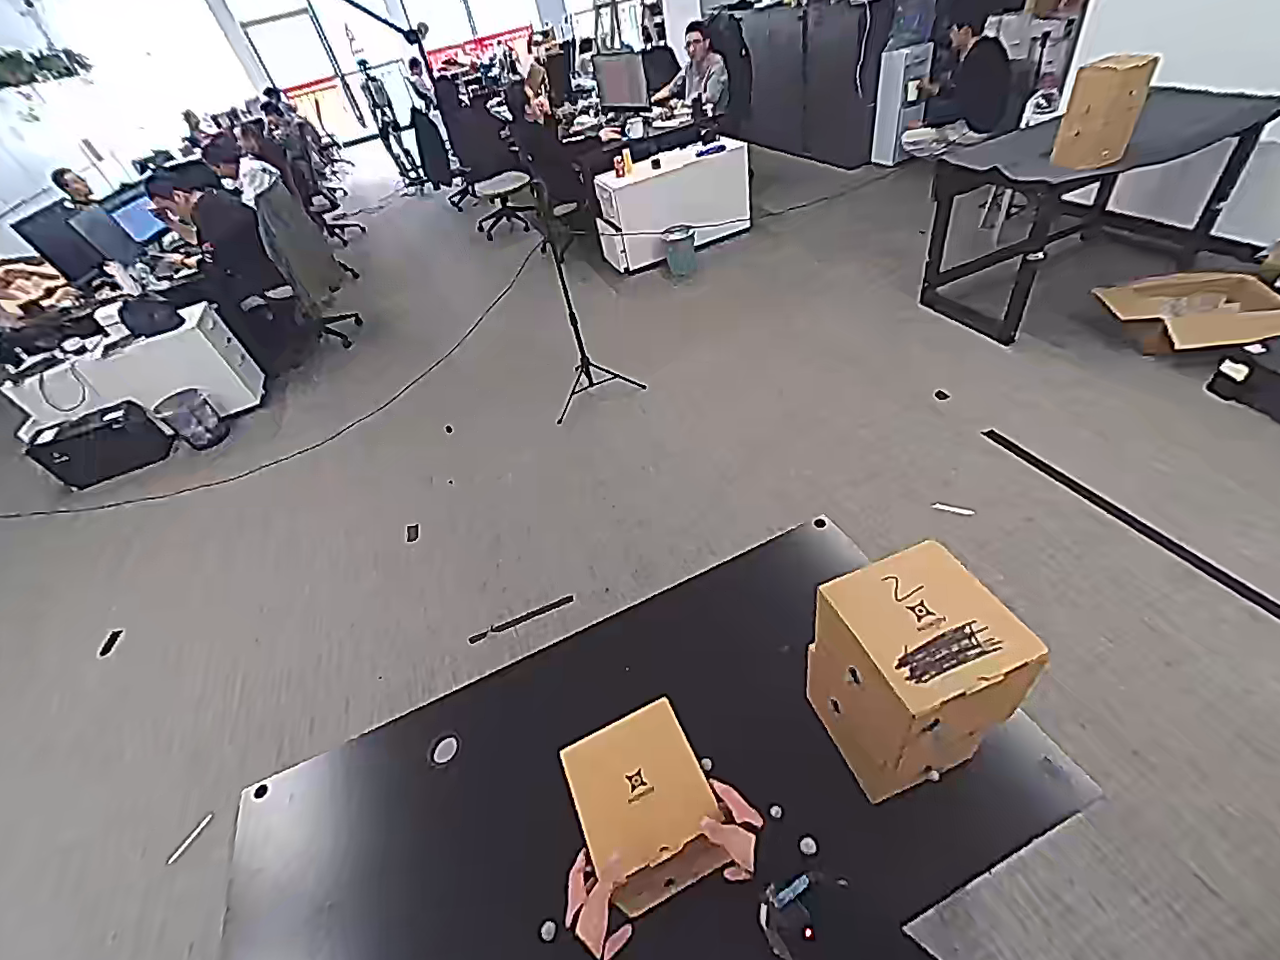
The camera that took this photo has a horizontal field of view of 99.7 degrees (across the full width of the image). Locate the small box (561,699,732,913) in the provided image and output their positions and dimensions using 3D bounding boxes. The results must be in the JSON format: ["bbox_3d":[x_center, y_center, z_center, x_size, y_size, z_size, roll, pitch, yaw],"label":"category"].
[{"bbox_3d":[0.011,0.444,0.740,0.168,0.176,0.179,-24,44,-10],"label":"small box"}]

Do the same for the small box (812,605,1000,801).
[{"bbox_3d":[0.360,0.318,0.774,0.168,0.176,0.179,-21,43,-6],"label":"small box"}]
